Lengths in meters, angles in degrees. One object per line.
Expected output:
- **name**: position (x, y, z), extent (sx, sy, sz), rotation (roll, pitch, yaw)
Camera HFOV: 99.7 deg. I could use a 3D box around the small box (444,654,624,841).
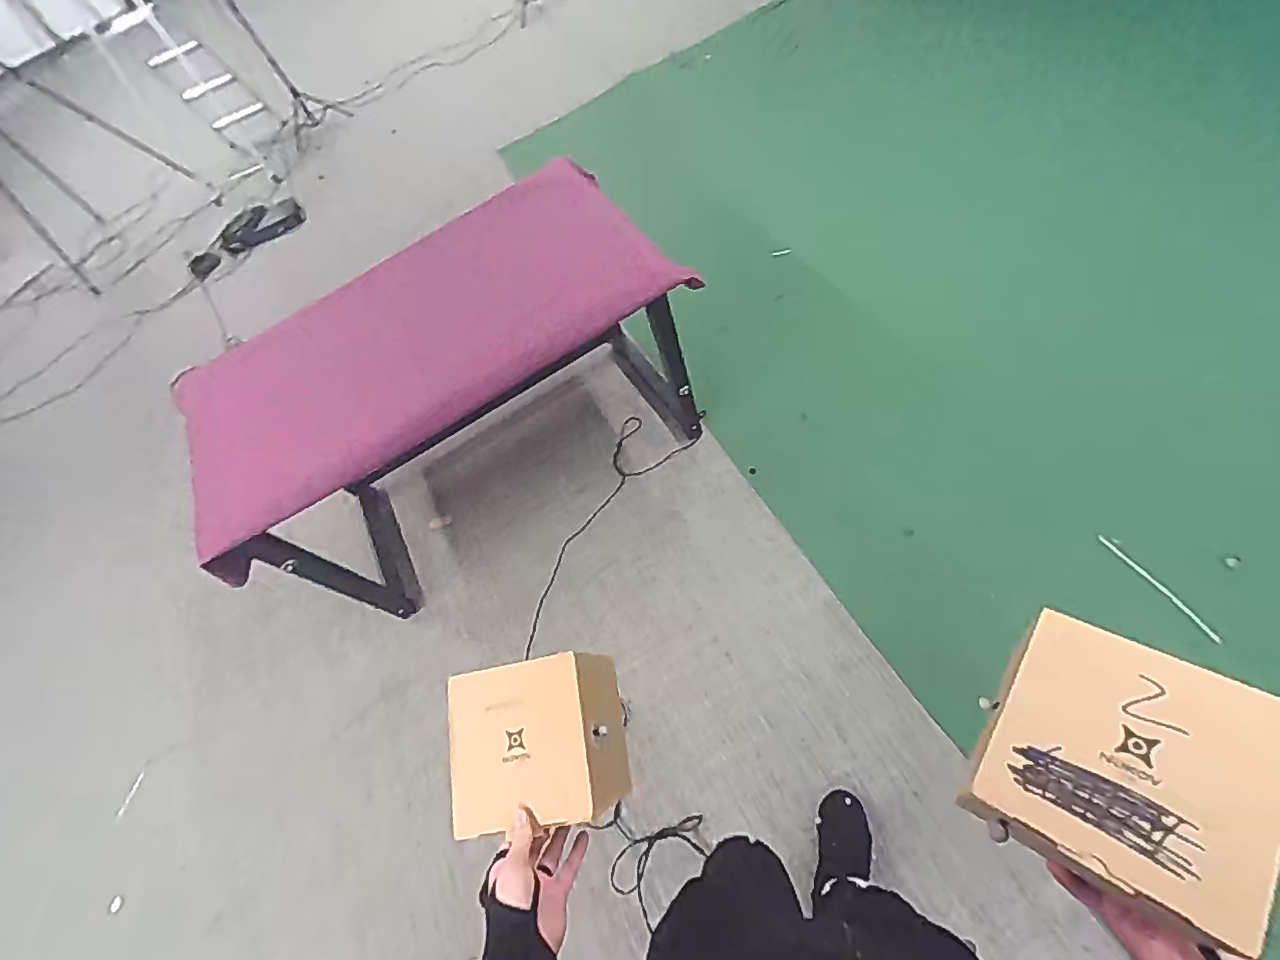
- **small box**: position (-0.127, 0.325, 0.686), extent (0.168, 0.176, 0.179), rotation (-14, 68, 8)
